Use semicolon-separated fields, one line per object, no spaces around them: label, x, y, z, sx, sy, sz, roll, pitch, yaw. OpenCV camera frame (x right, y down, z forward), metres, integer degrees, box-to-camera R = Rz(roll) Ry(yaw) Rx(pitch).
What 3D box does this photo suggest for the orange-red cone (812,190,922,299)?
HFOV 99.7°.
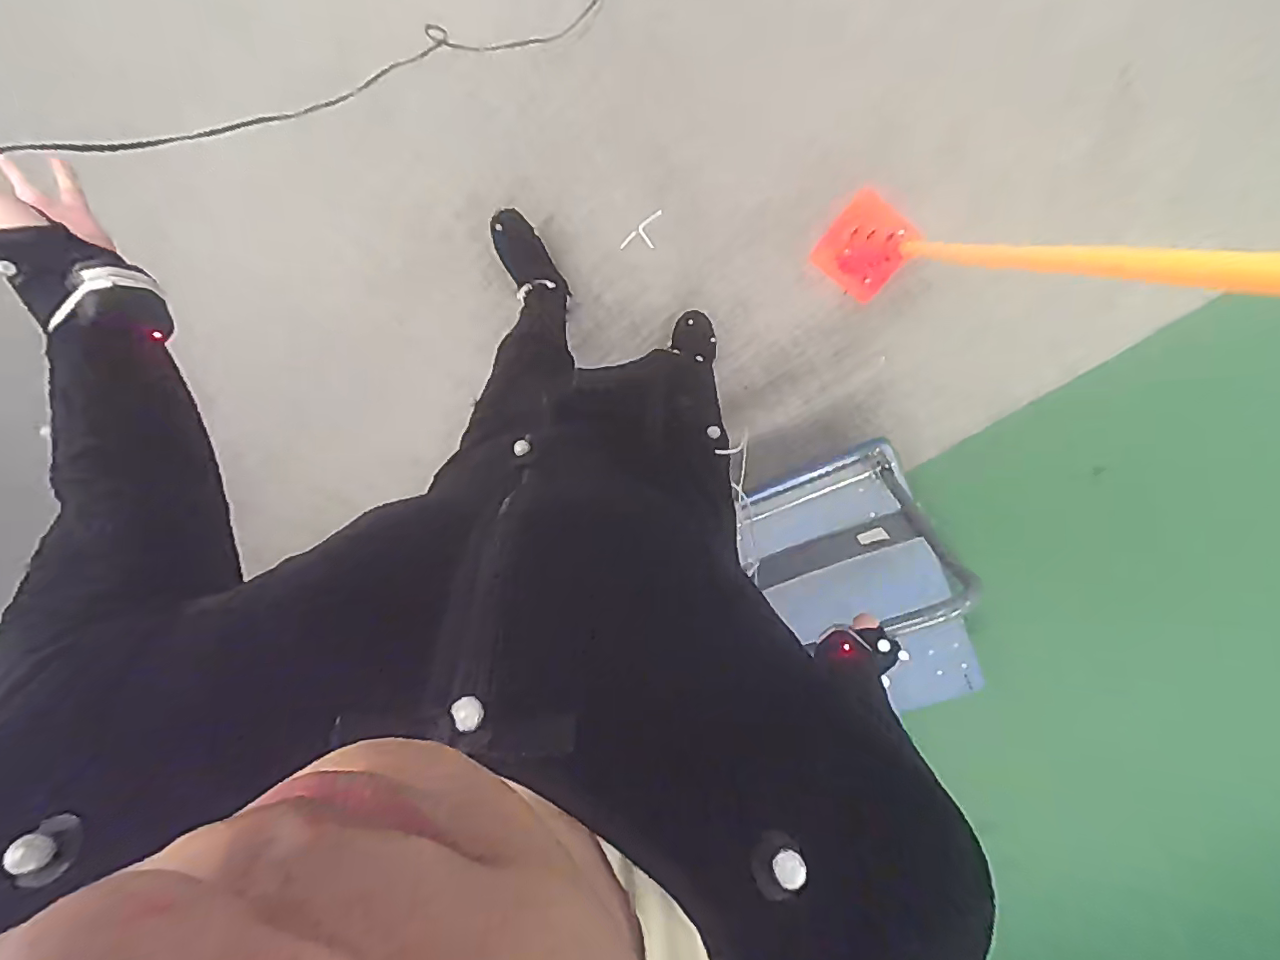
orange-red cone;0.539;-0.515;1.188;0.198;0.360;0.199;37;112;-9
